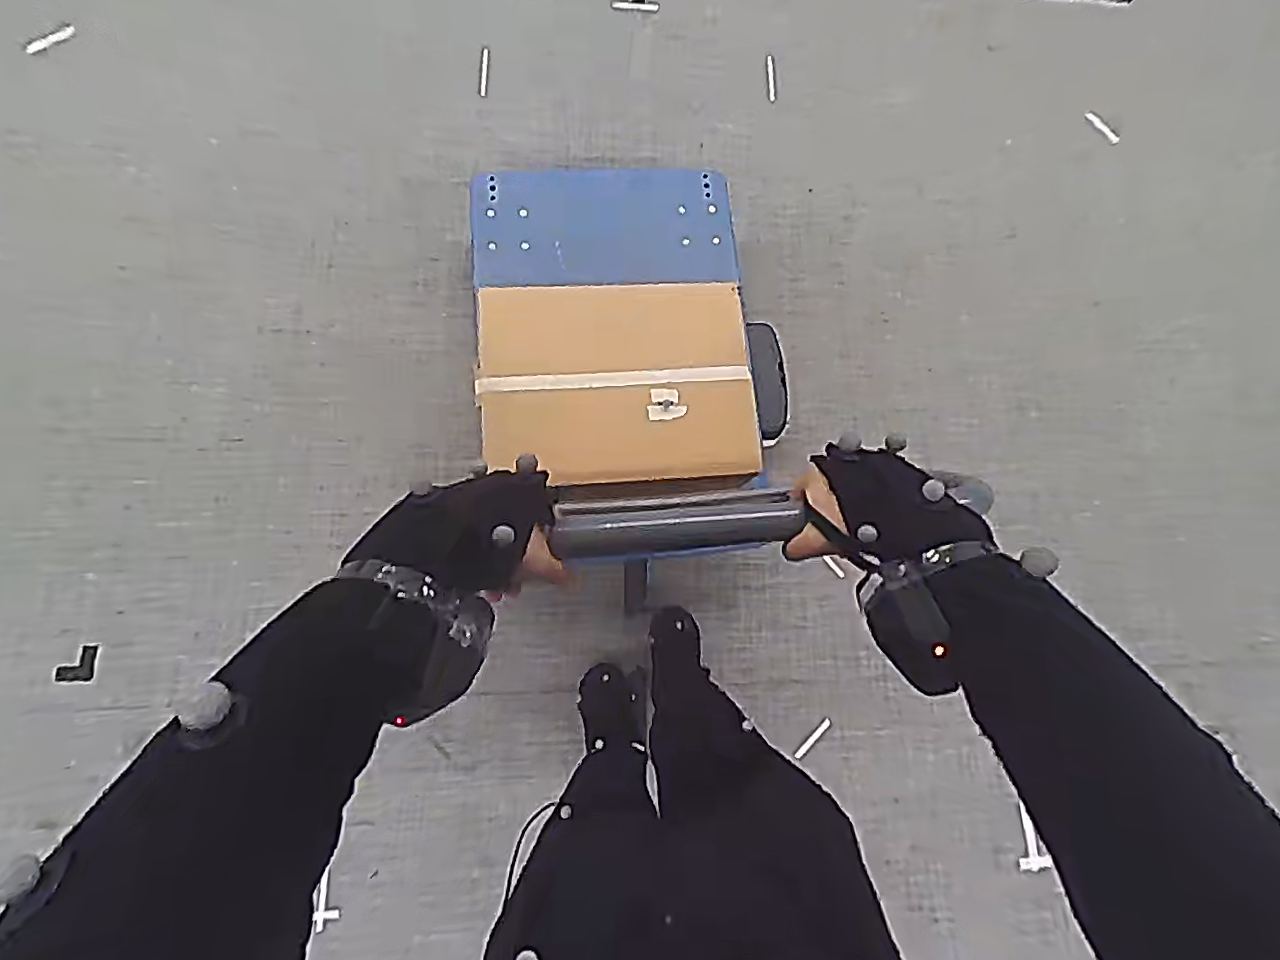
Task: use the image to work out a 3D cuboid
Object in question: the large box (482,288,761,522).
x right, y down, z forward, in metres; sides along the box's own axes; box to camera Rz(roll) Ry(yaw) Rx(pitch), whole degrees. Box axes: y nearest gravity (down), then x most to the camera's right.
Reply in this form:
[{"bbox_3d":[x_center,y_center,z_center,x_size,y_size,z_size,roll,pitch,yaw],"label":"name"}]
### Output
[{"bbox_3d":[-0.046,-0.113,0.956,0.408,0.320,0.320,-4,79,-7],"label":"large box"}]
